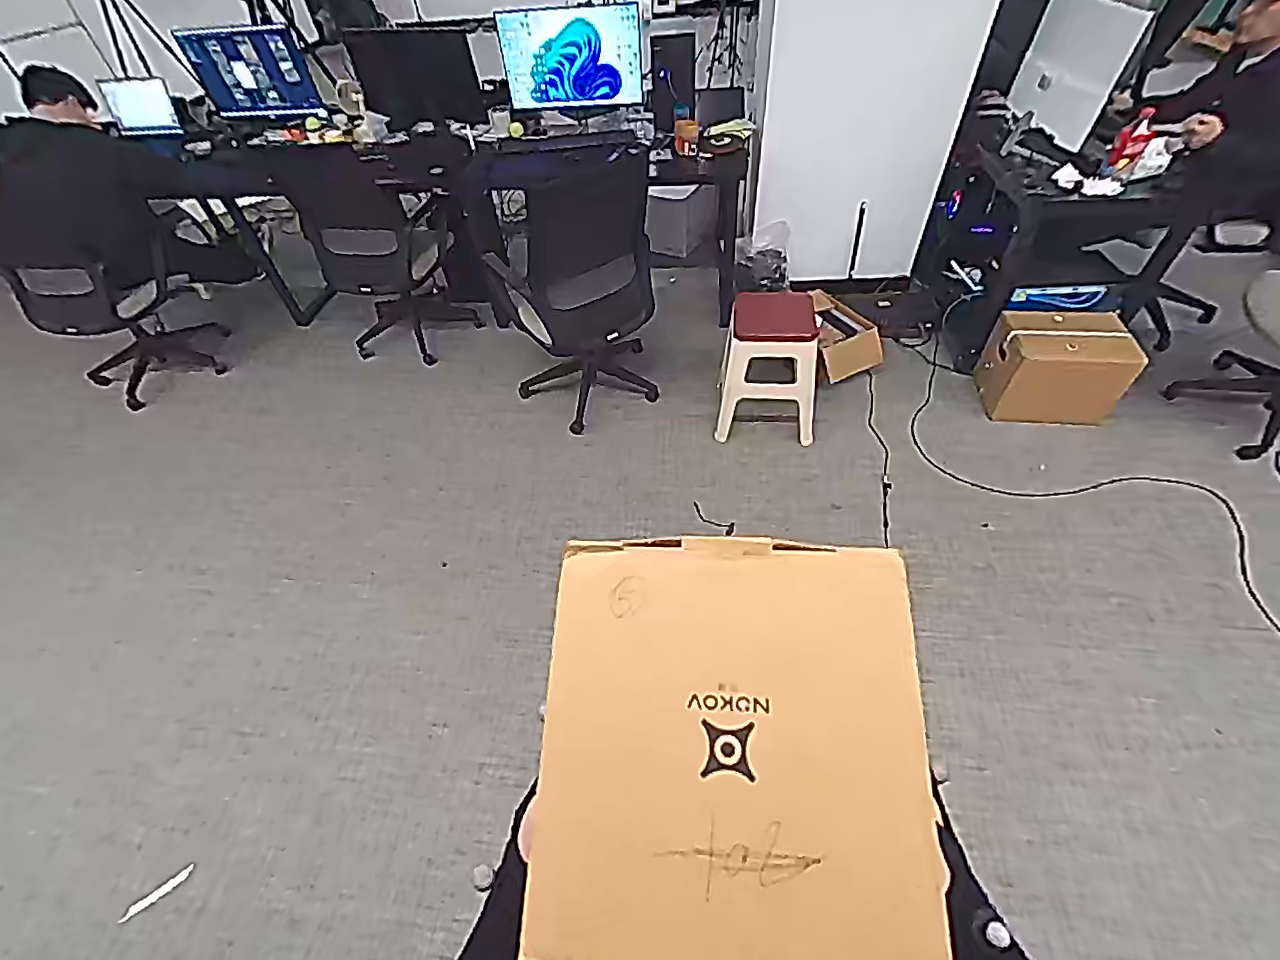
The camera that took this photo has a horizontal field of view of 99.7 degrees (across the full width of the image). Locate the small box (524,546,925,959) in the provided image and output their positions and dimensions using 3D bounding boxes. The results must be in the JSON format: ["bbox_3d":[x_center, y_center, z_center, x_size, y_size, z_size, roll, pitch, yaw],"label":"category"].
[{"bbox_3d":[0.044,0.147,0.323,0.168,0.176,0.179,1,69,7],"label":"small box"}]
